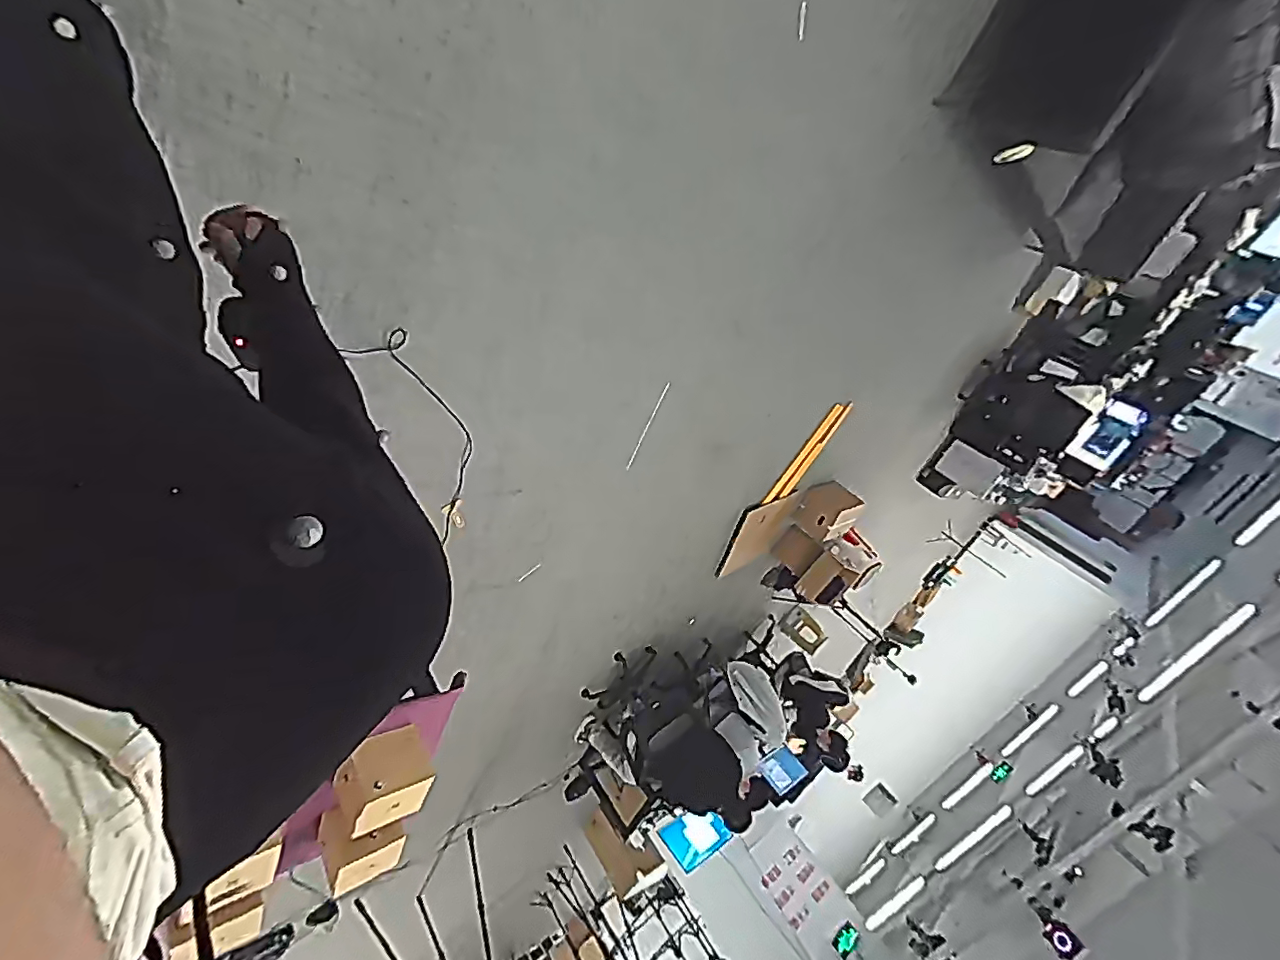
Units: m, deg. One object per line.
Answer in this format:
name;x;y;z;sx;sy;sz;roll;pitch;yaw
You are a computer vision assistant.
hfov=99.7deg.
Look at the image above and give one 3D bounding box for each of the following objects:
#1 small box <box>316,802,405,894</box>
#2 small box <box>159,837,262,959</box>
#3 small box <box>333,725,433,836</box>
small box;-0.801;1.015;1.543;0.179;0.176;0.168;-4;128;-44
small box;-1.039;1.018;1.304;0.179;0.176;0.168;-3;128;-45
small box;-0.679;0.780;1.424;0.179;0.176;0.168;1;127;-45
